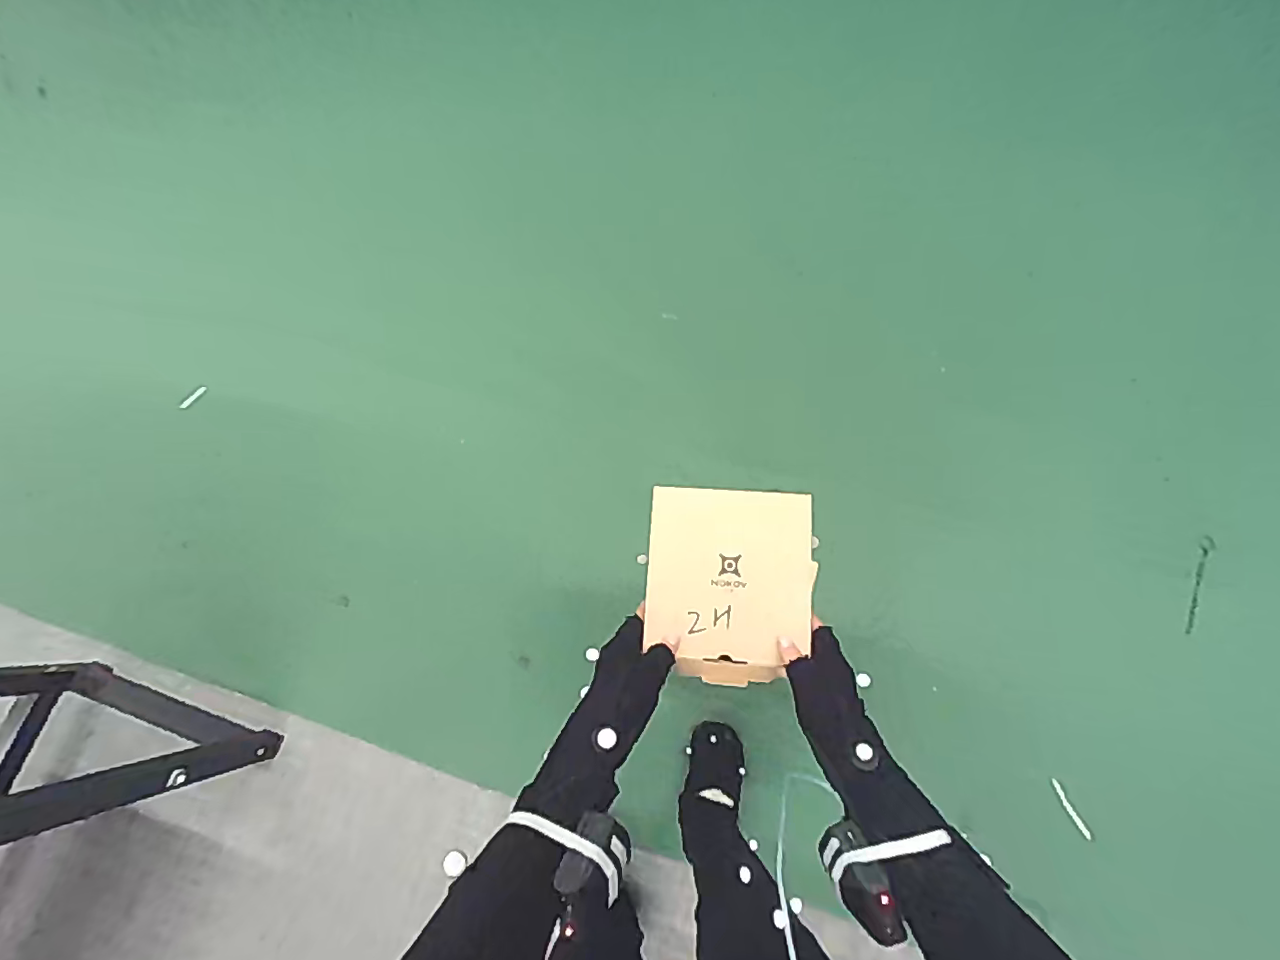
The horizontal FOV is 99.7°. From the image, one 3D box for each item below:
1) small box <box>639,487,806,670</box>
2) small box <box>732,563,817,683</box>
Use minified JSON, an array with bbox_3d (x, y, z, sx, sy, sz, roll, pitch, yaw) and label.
[{"bbox_3d":[0.091,0.114,0.628,0.168,0.176,0.179,3,78,5],"label":"small box"},{"bbox_3d":[0.170,0.210,0.877,0.168,0.176,0.179,16,76,9],"label":"small box"}]
